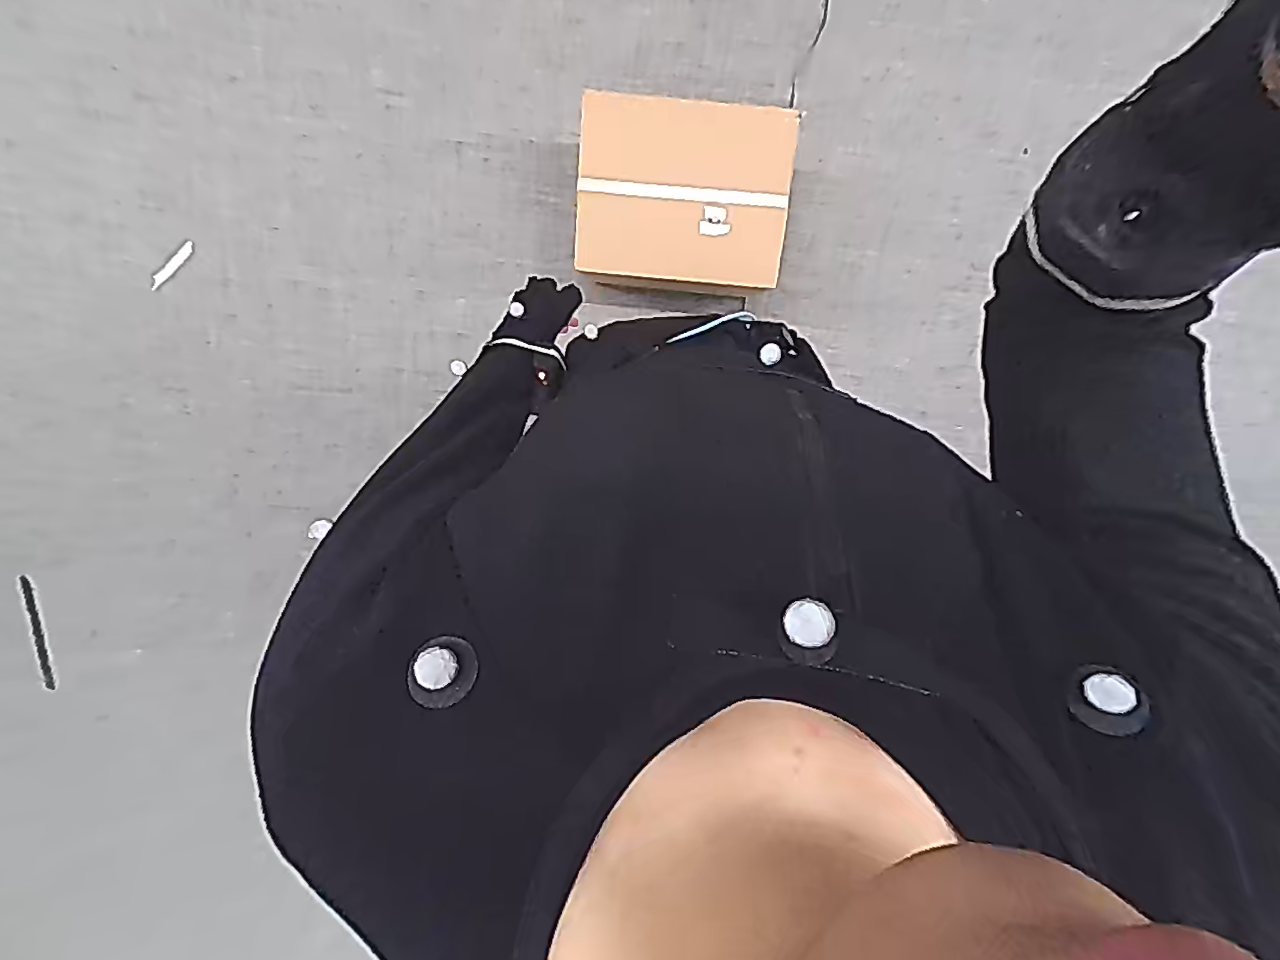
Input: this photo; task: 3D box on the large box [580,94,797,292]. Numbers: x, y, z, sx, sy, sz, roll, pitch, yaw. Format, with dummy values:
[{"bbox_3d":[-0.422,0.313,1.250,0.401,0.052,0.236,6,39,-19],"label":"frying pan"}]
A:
[{"bbox_3d":[0.086,-0.598,1.190,0.408,0.320,0.320,5,107,-1],"label":"large box"}]
